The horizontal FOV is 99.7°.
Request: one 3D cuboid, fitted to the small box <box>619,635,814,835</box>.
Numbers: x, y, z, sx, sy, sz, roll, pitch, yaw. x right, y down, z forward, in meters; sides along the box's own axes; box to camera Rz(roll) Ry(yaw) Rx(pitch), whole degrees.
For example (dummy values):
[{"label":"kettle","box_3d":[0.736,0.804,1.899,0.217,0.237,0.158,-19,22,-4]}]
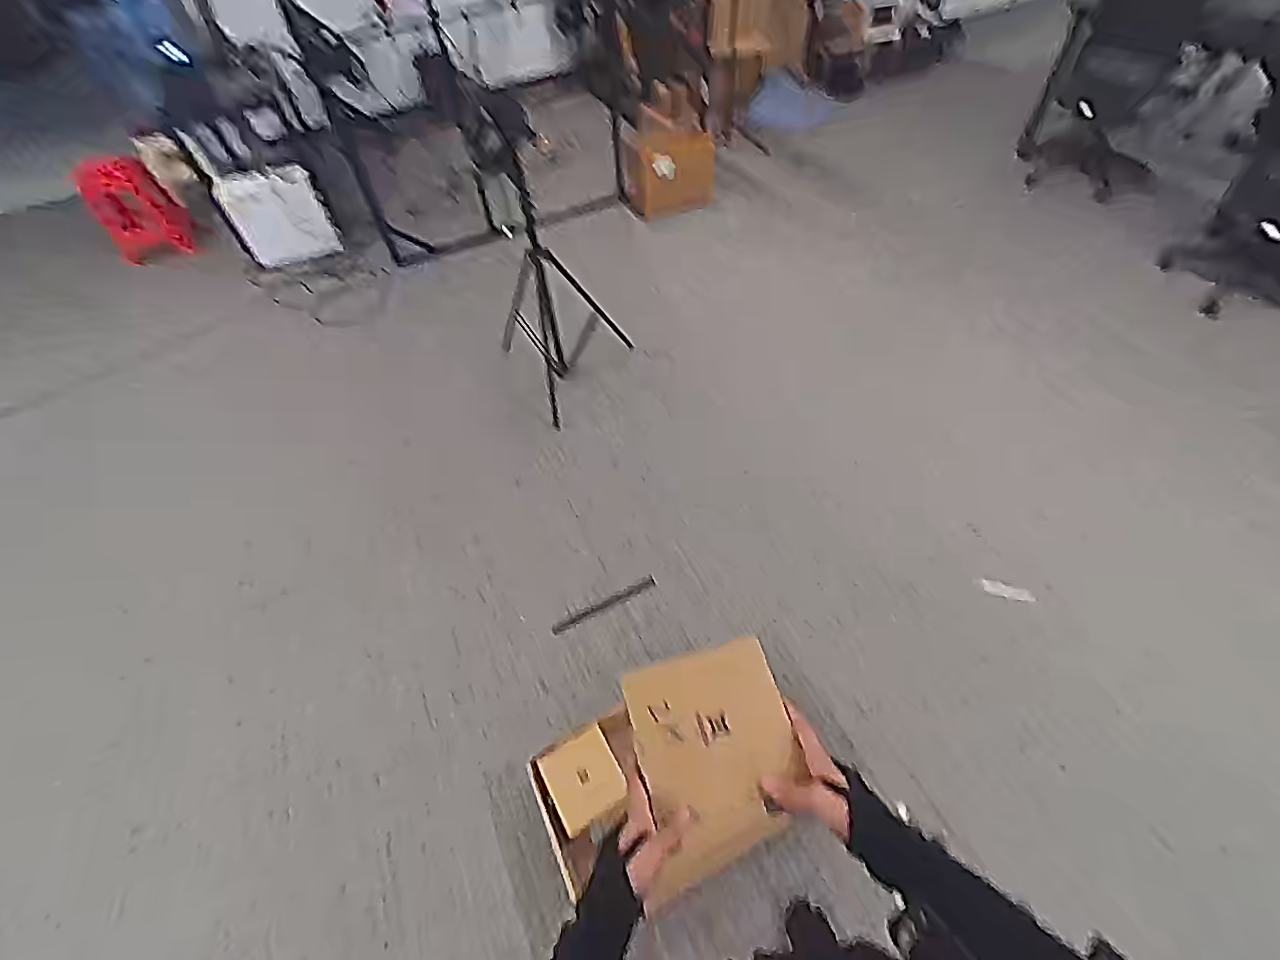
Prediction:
[{"label":"small box","box_3d":[0.081,0.310,0.661,0.179,0.176,0.168,-15,60,-6]}]
